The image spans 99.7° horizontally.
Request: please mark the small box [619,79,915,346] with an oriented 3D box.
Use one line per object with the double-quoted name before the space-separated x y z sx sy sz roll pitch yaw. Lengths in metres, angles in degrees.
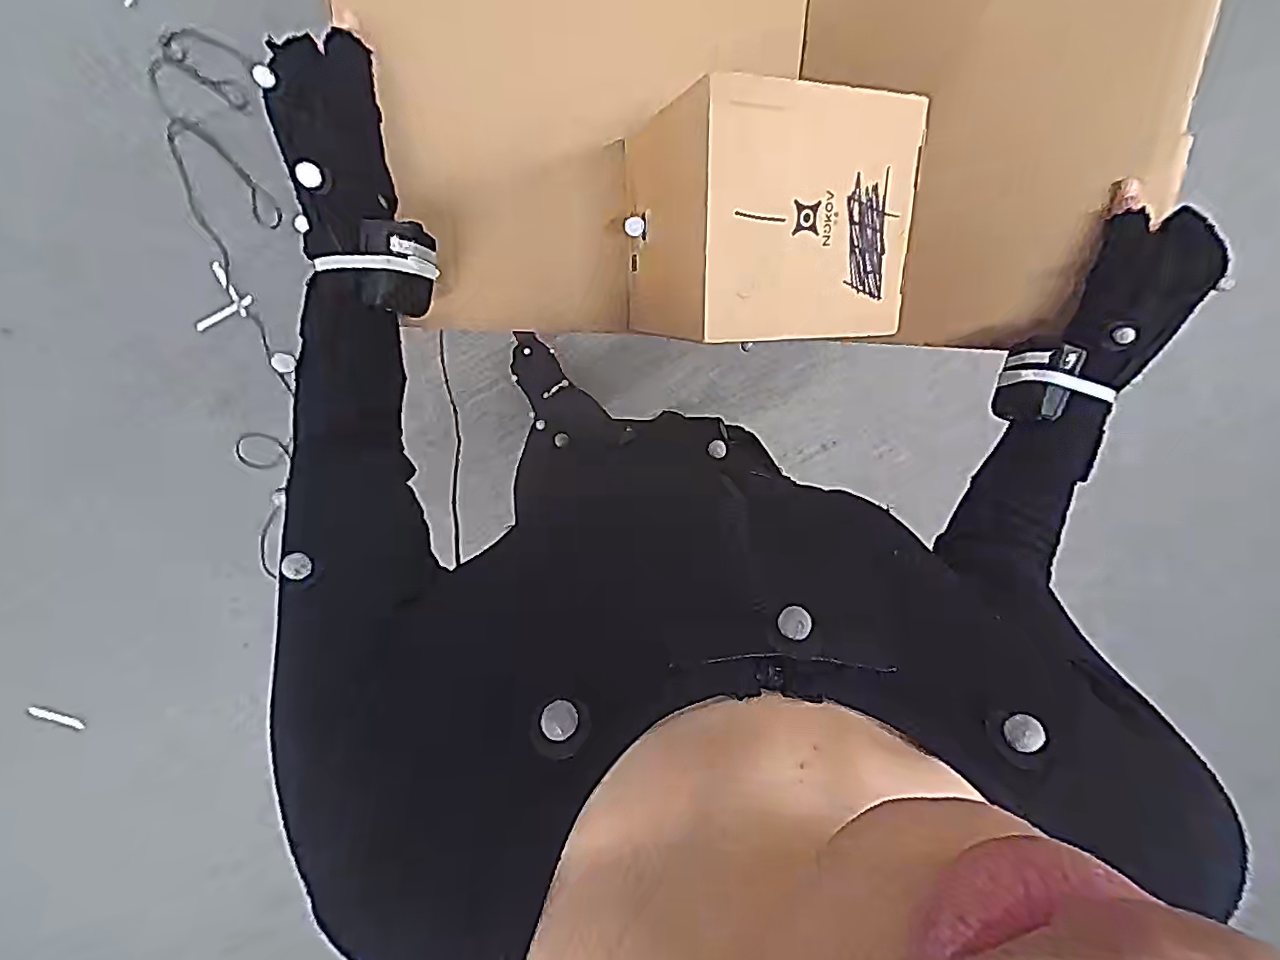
"small box" 0.091 -0.207 0.460 0.179 0.176 0.168 -8 110 -18
